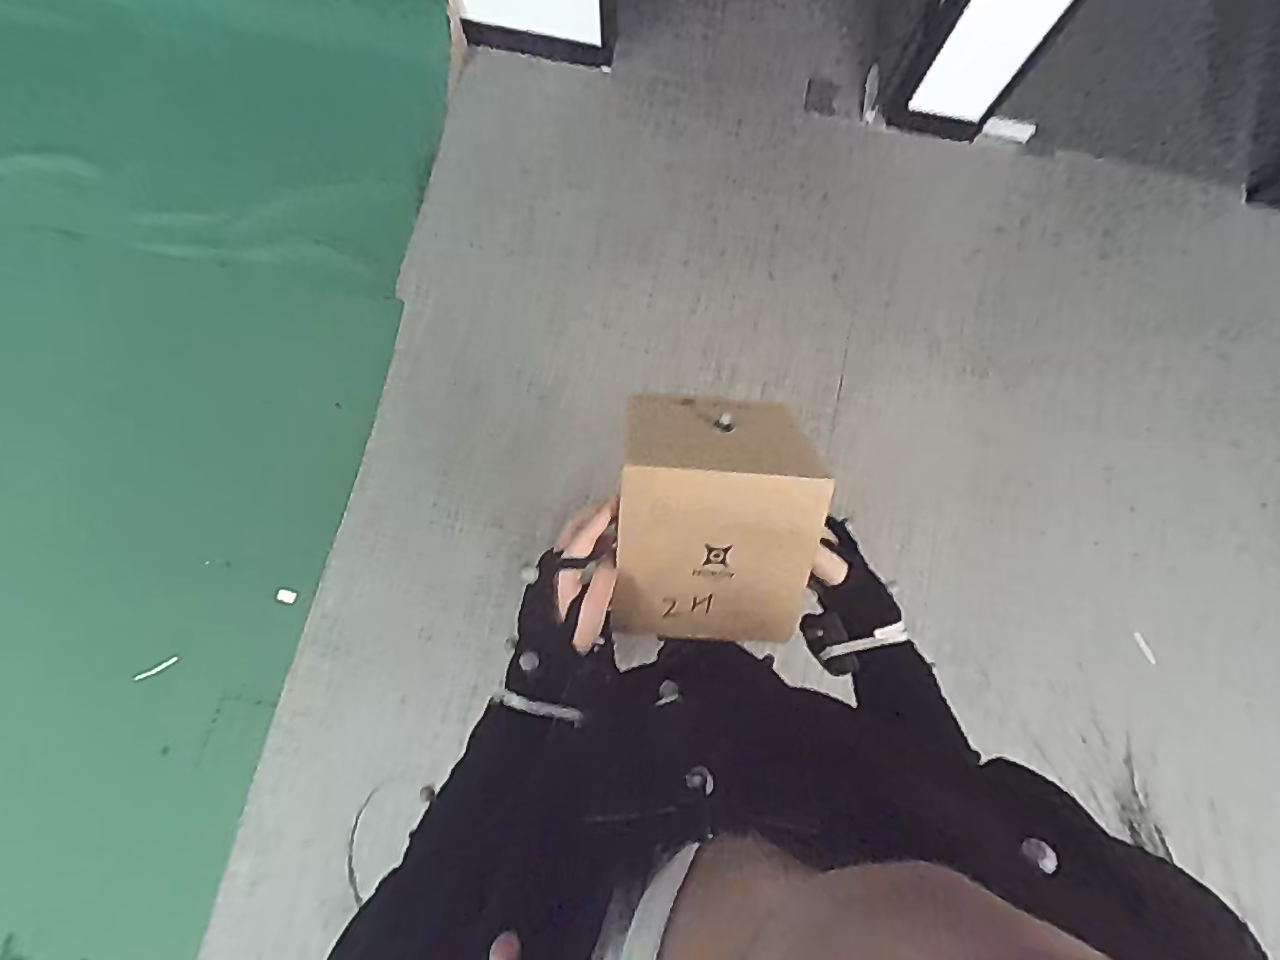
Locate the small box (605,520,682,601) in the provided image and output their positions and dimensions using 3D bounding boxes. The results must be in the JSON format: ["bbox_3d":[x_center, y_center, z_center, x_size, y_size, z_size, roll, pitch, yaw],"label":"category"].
[{"bbox_3d":[0.006,0.215,1.438,0.168,0.176,0.179,13,80,1],"label":"small box"}]
